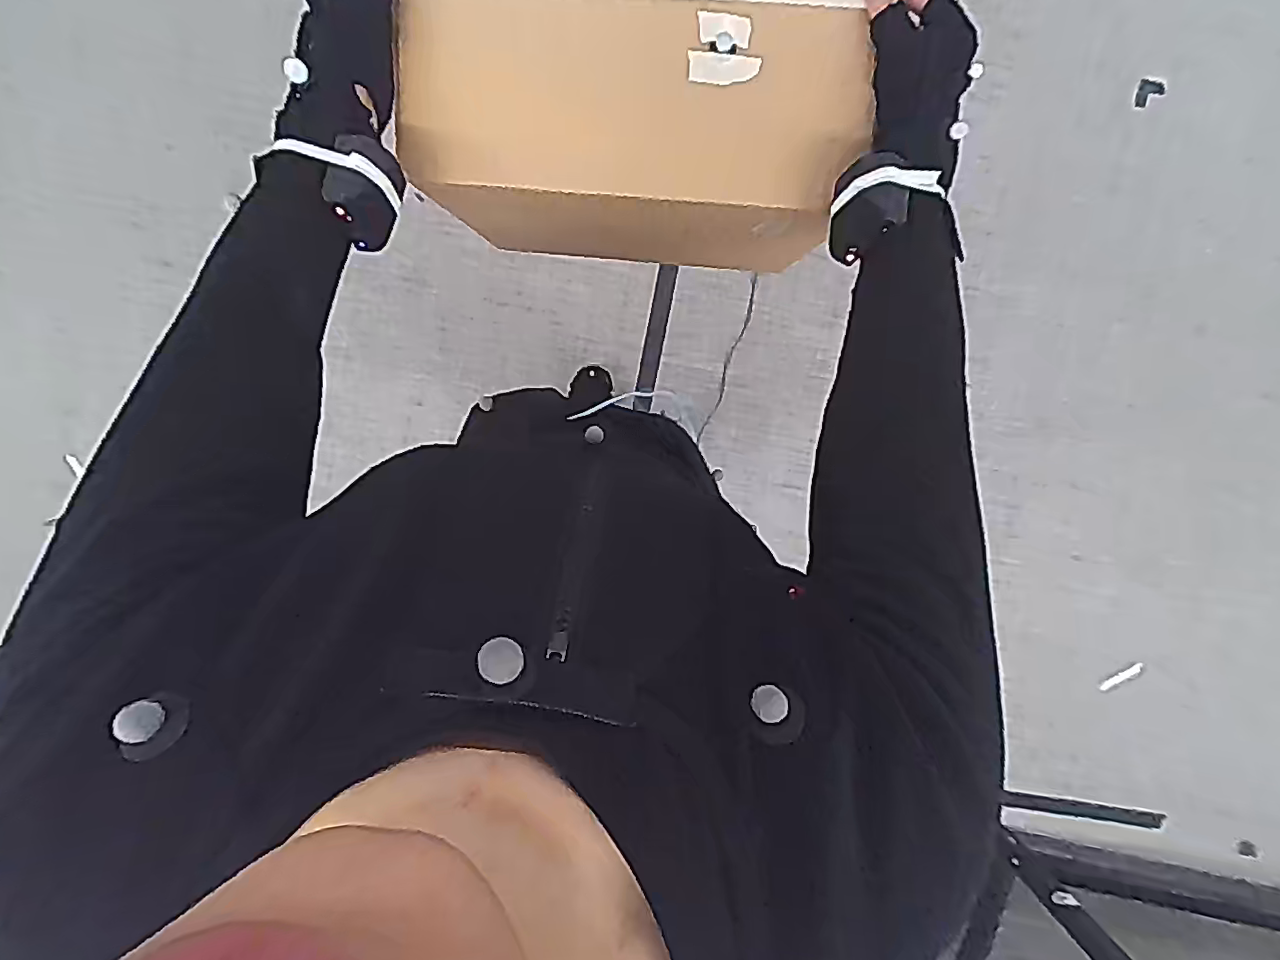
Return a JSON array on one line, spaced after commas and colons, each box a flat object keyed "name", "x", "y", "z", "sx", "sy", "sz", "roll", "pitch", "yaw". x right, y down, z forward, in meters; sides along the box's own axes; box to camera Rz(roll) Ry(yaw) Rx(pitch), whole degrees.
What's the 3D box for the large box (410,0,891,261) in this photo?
[{"name": "large box", "x": 0.009, "y": -0.437, "z": 0.588, "sx": 0.408, "sy": 0.320, "sz": 0.320, "roll": 4, "pitch": 103, "yaw": 0}]
